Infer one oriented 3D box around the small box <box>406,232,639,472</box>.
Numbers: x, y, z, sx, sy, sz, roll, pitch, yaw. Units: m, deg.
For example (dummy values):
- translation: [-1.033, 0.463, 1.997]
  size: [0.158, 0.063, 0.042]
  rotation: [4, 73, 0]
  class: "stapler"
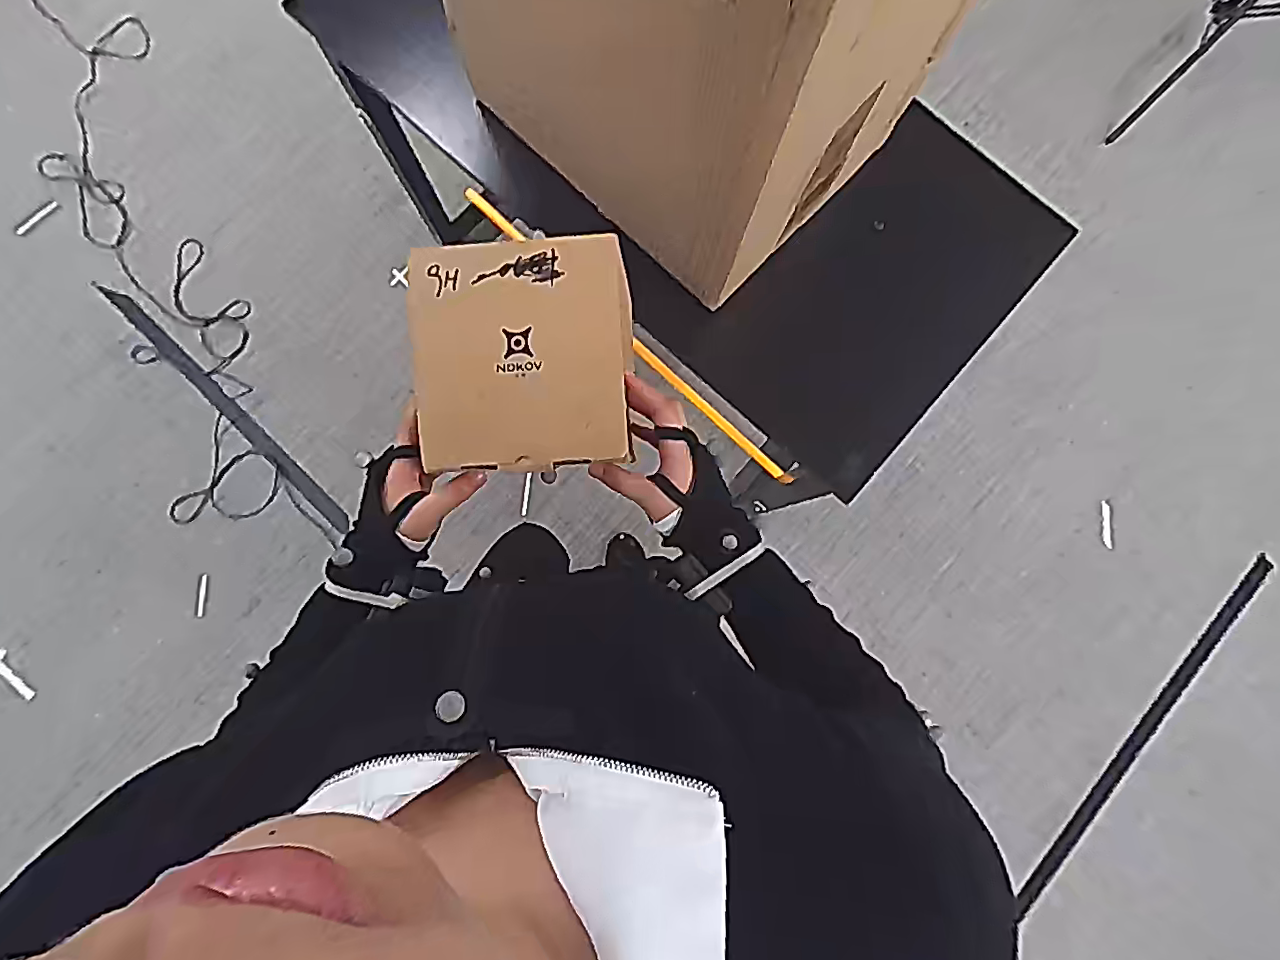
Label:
- translation: [-0.091, -0.103, 0.497]
  size: [0.168, 0.176, 0.179]
  rotation: [-3, 93, 3]
  class: "small box"
